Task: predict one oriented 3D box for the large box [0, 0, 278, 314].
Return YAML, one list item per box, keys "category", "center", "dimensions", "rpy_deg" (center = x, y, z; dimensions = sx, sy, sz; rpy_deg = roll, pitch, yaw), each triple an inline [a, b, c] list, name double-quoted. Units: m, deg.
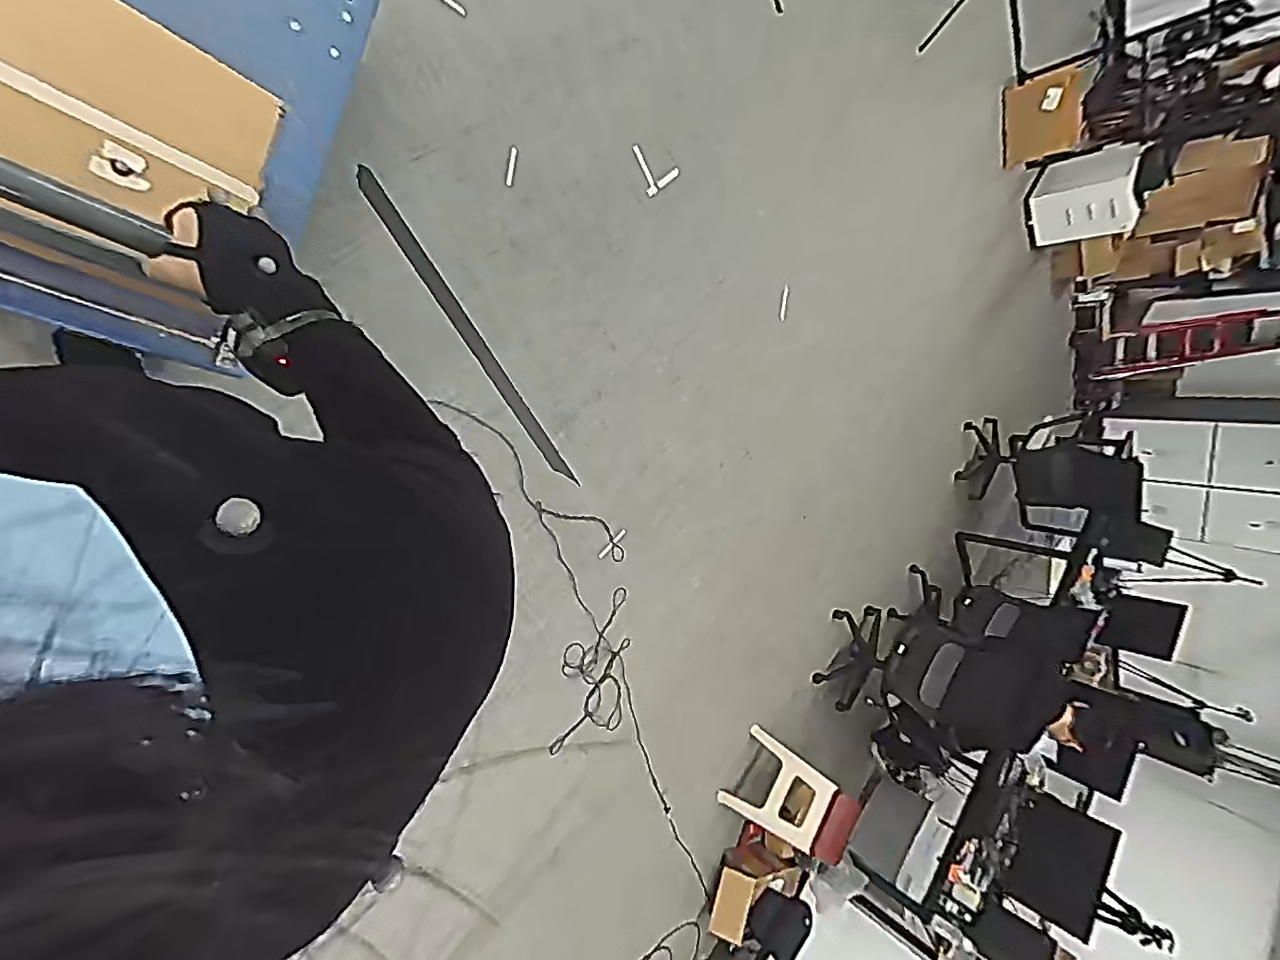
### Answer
- category: "large box"
  center: [-0.824, -0.481, 0.782]
  dimensions: [0.408, 0.320, 0.320]
  rpy_deg: [20, 85, -42]
